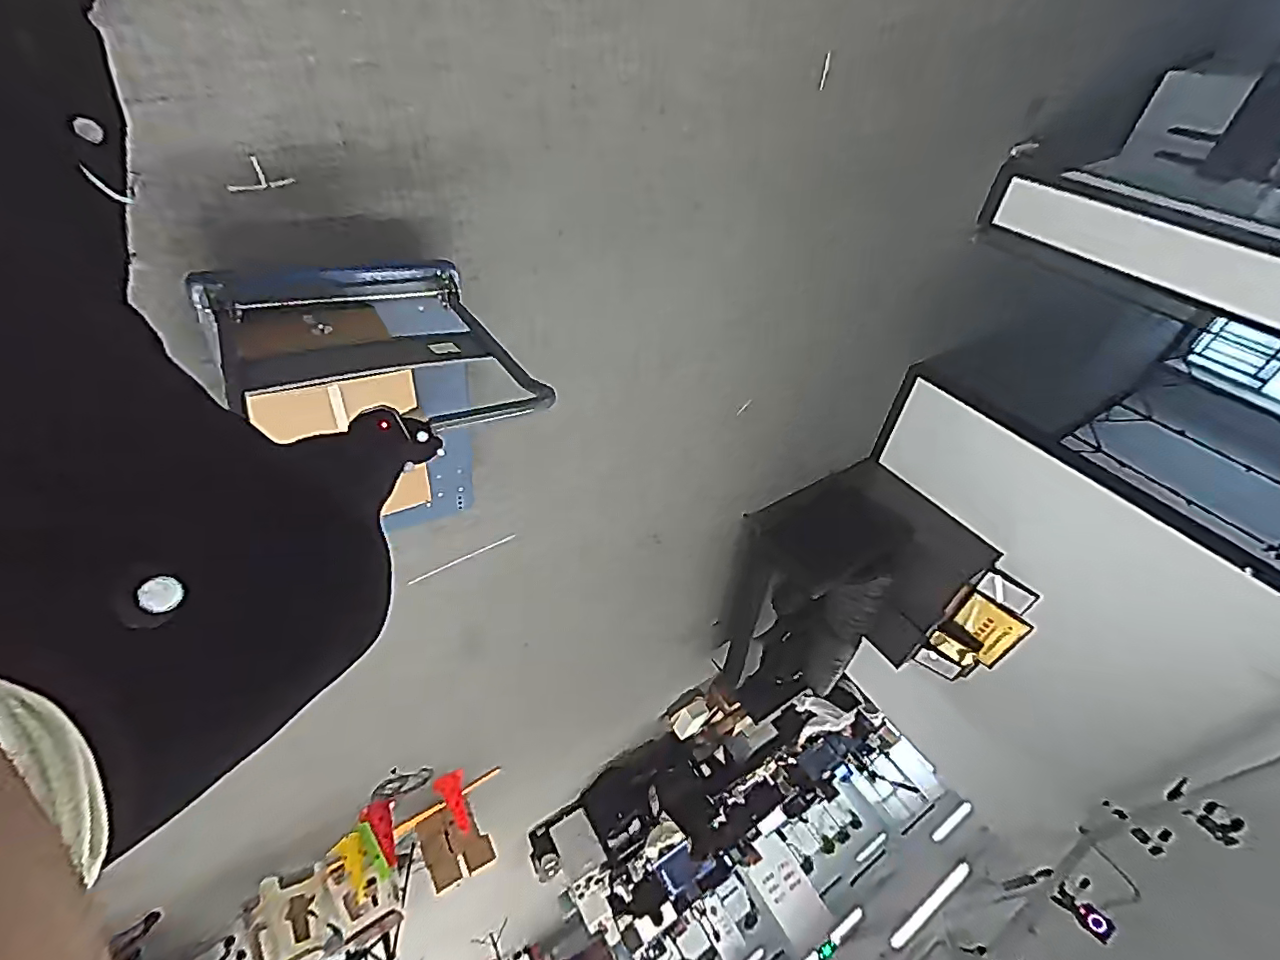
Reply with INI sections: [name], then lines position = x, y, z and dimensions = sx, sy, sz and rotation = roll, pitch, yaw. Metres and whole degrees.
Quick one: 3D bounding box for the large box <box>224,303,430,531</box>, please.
[large box]
position = -0.733, -0.158, 1.302
dimensions = 0.320, 0.320, 0.408
rotation = -18, 139, -29
